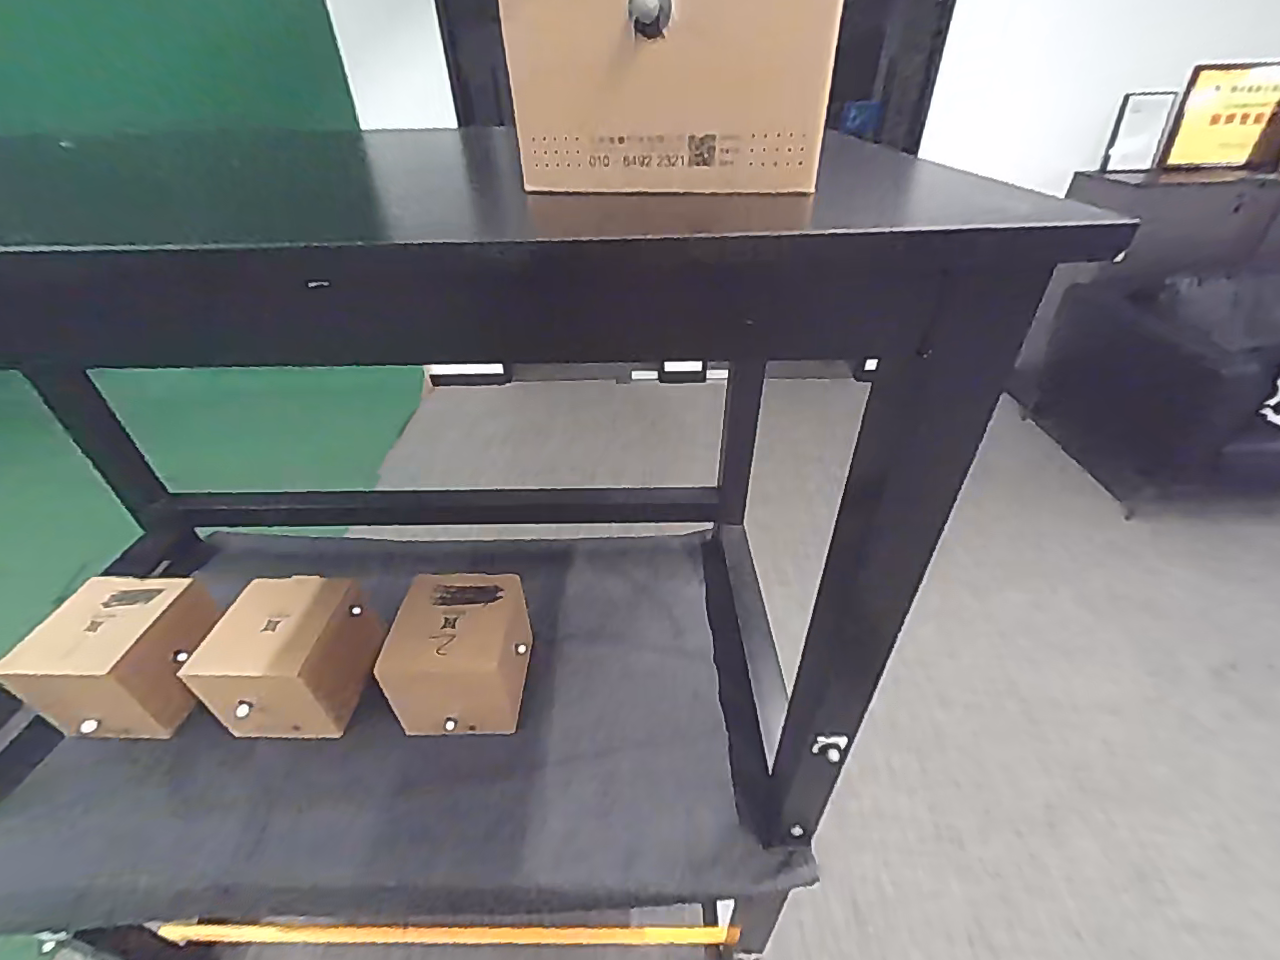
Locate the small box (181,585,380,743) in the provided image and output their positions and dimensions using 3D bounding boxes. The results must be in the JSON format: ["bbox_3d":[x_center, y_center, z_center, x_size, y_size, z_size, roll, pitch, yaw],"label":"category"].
[{"bbox_3d":[-0.529,0.282,0.832,0.168,0.176,0.179,0,36,1],"label":"small box"}]

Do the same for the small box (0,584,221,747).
[{"bbox_3d":[-0.782,0.282,0.835,0.168,0.176,0.179,0,37,2],"label":"small box"}]

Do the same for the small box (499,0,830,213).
[{"bbox_3d":[0.025,-0.268,0.328,0.168,0.176,0.179,6,37,10],"label":"small box"}]
